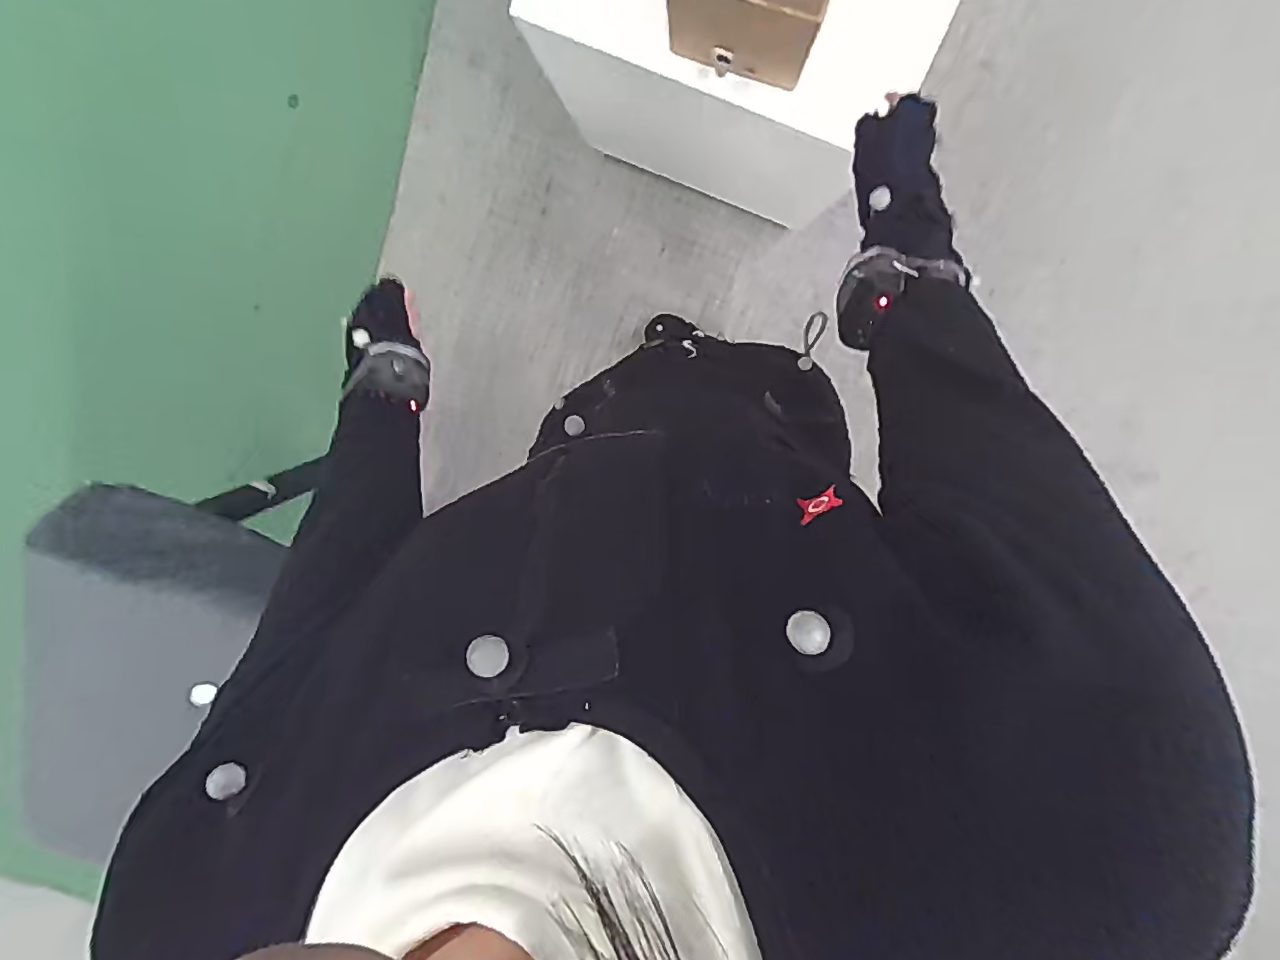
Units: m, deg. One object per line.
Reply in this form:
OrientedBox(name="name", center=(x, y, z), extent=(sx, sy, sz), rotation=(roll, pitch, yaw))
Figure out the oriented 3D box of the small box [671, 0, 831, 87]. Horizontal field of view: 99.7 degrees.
OrientedBox(name="small box", center=(0.130, -0.558, 0.562), extent=(0.168, 0.176, 0.179), rotation=(18, 109, 3))
